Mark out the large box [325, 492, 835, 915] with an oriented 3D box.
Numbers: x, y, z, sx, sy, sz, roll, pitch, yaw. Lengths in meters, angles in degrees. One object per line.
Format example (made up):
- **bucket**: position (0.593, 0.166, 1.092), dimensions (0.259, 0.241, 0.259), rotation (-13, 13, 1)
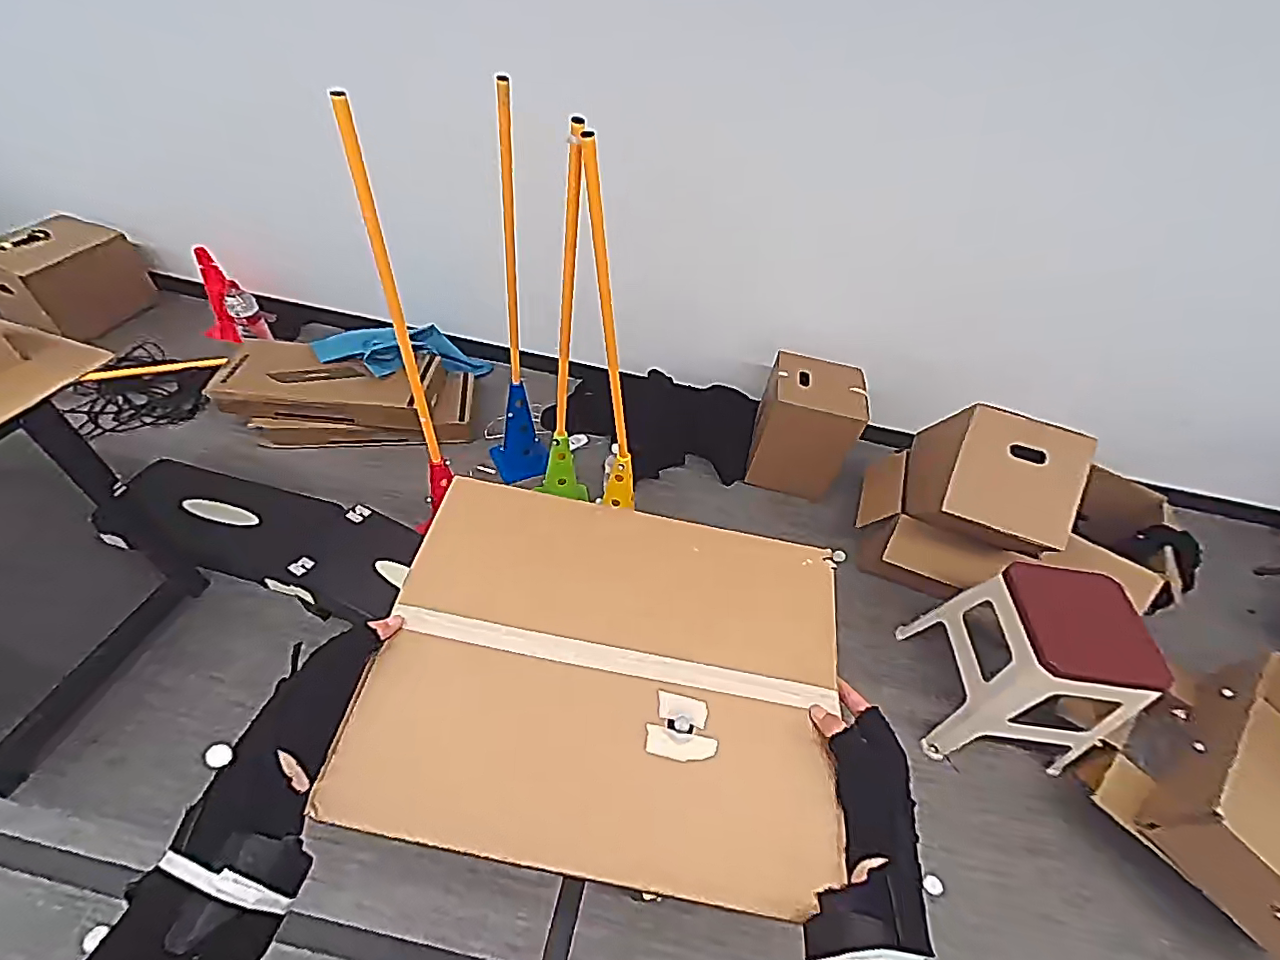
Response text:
- **large box**: position (-0.040, 0.254, 0.614), dimensions (0.408, 0.320, 0.320), rotation (12, 56, 1)
